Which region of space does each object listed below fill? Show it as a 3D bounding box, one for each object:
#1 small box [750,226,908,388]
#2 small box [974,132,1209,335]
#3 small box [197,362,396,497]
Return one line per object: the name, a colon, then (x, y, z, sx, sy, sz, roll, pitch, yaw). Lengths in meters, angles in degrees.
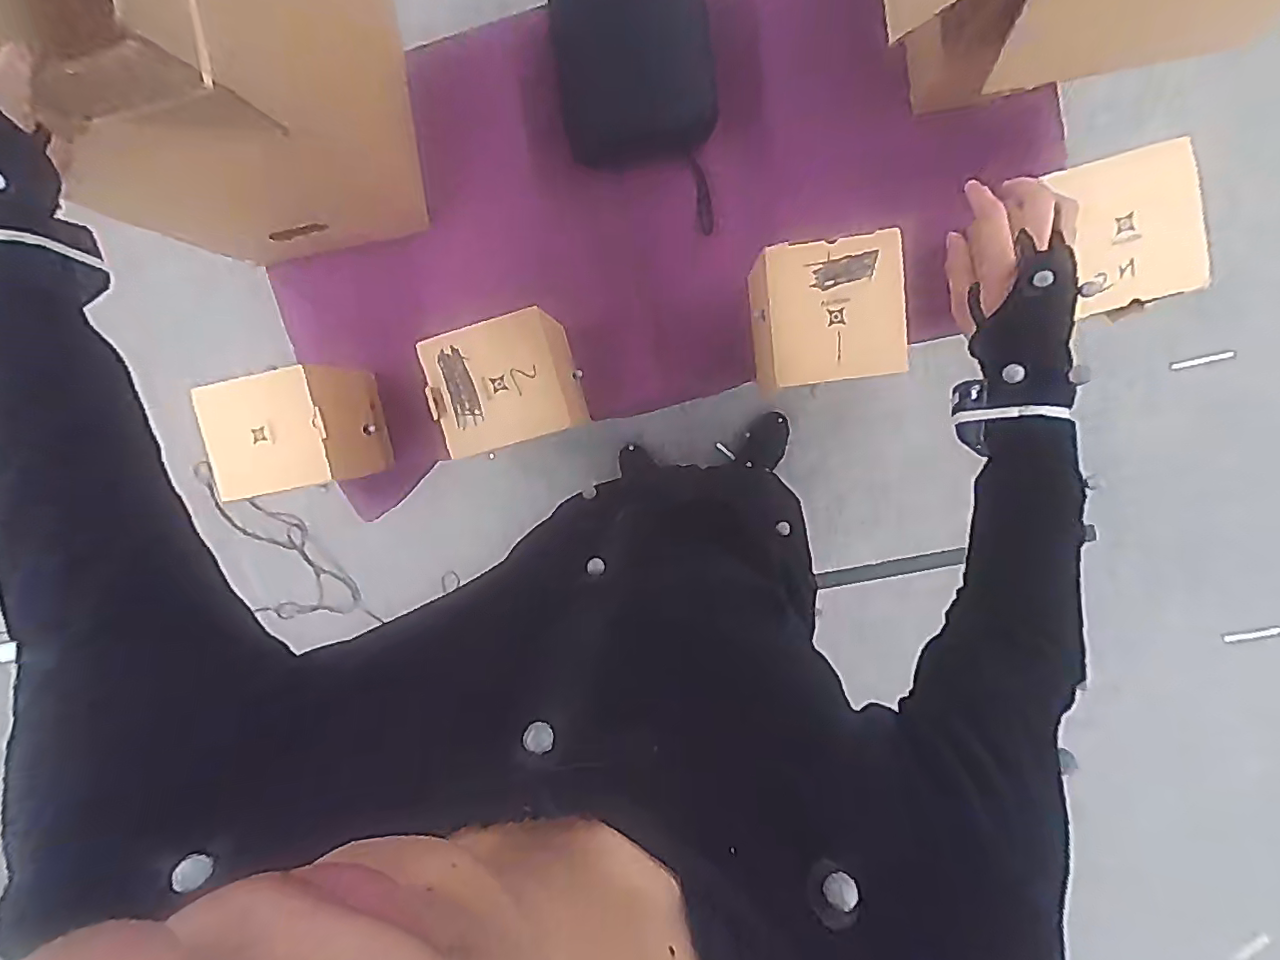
small box: (0.250, -0.226, 0.749, 0.168, 0.176, 0.179, -6, 98, 6)
small box: (0.572, -0.305, 0.710, 0.168, 0.176, 0.179, -13, 96, 7)
small box: (-0.515, -0.076, 0.834, 0.179, 0.176, 0.168, -11, 96, 5)
